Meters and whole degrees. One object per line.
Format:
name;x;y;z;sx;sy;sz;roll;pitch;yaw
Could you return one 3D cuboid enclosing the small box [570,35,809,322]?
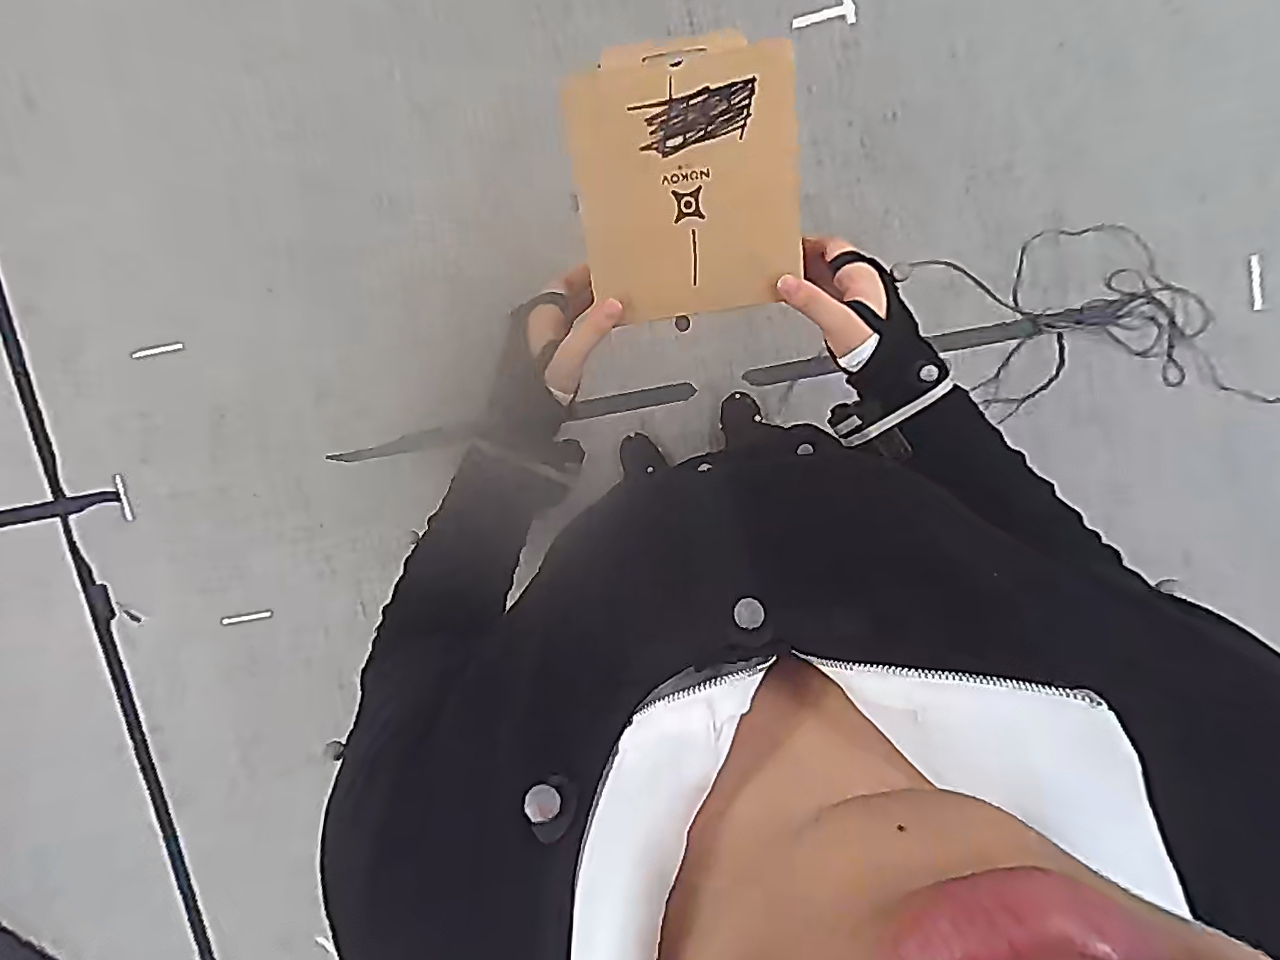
small box;0.039;-0.238;0.474;0.168;0.176;0.179;-8;108;2
